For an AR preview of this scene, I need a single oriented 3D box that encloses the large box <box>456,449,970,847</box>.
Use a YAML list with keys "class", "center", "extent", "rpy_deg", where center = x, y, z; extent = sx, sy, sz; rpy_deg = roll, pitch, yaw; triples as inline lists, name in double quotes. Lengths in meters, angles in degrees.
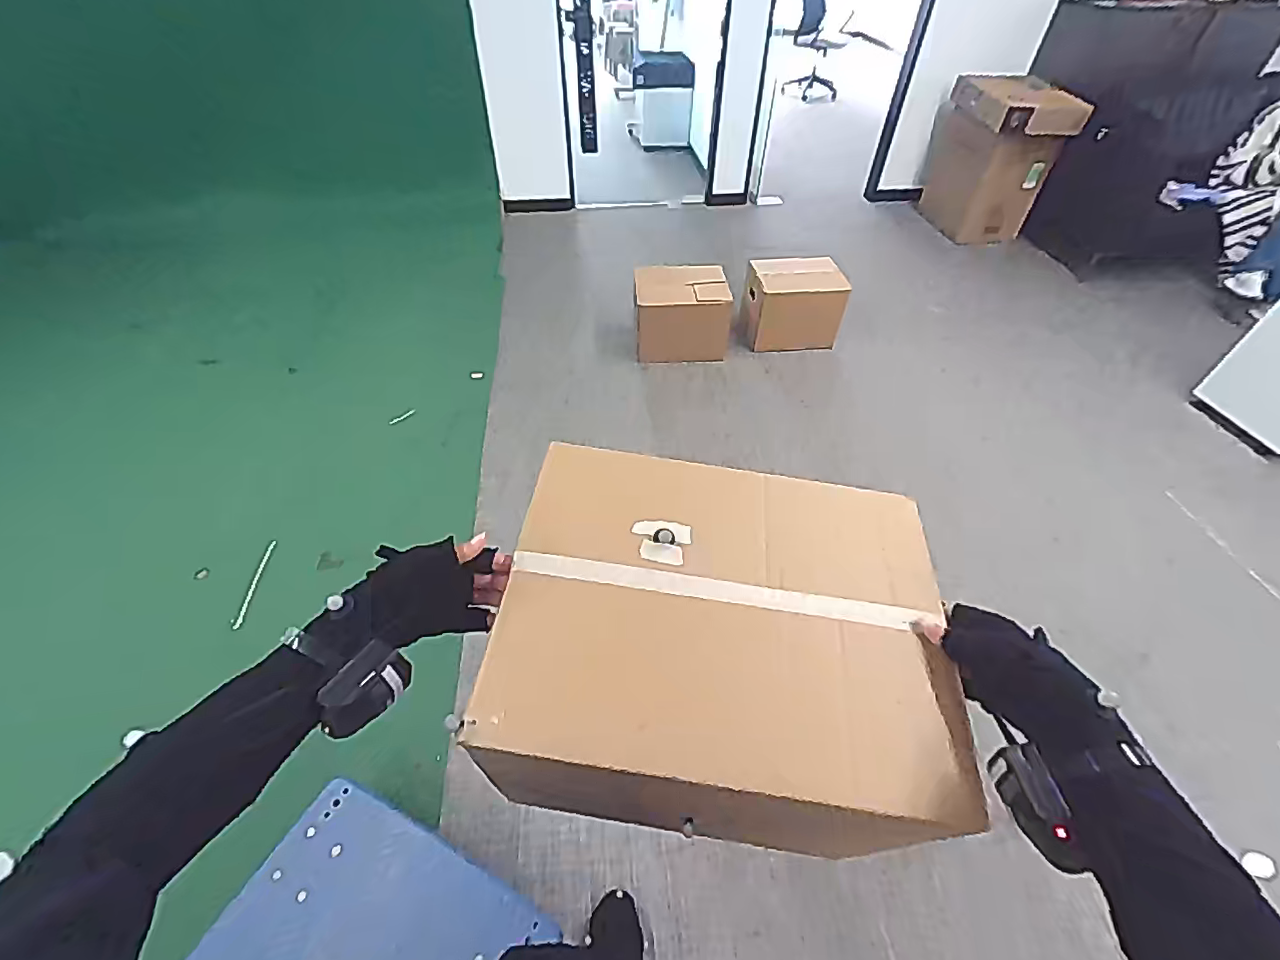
- class: "large box"
  center: [0.065, 0.201, 0.618]
  extent: [0.408, 0.320, 0.320]
  rpy_deg: [8, 50, 2]
